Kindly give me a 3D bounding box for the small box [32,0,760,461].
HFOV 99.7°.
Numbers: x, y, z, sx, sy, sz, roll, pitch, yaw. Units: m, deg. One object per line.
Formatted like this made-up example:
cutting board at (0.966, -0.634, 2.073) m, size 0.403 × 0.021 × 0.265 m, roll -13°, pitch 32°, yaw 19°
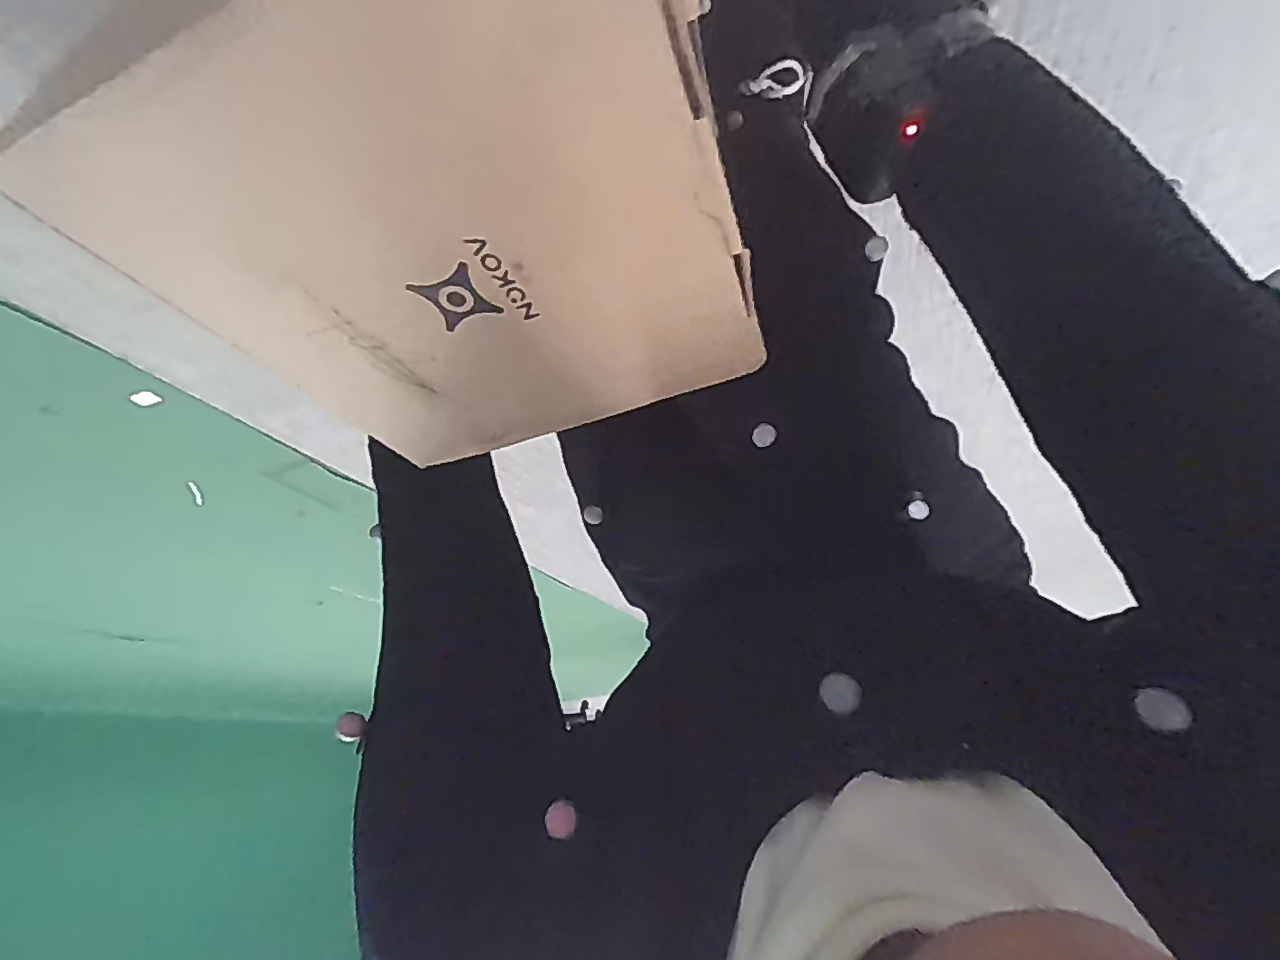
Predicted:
small box at (-0.063, -0.133, 0.224) m, size 0.179 × 0.176 × 0.168 m, roll -13°, pitch 151°, yaw 18°
